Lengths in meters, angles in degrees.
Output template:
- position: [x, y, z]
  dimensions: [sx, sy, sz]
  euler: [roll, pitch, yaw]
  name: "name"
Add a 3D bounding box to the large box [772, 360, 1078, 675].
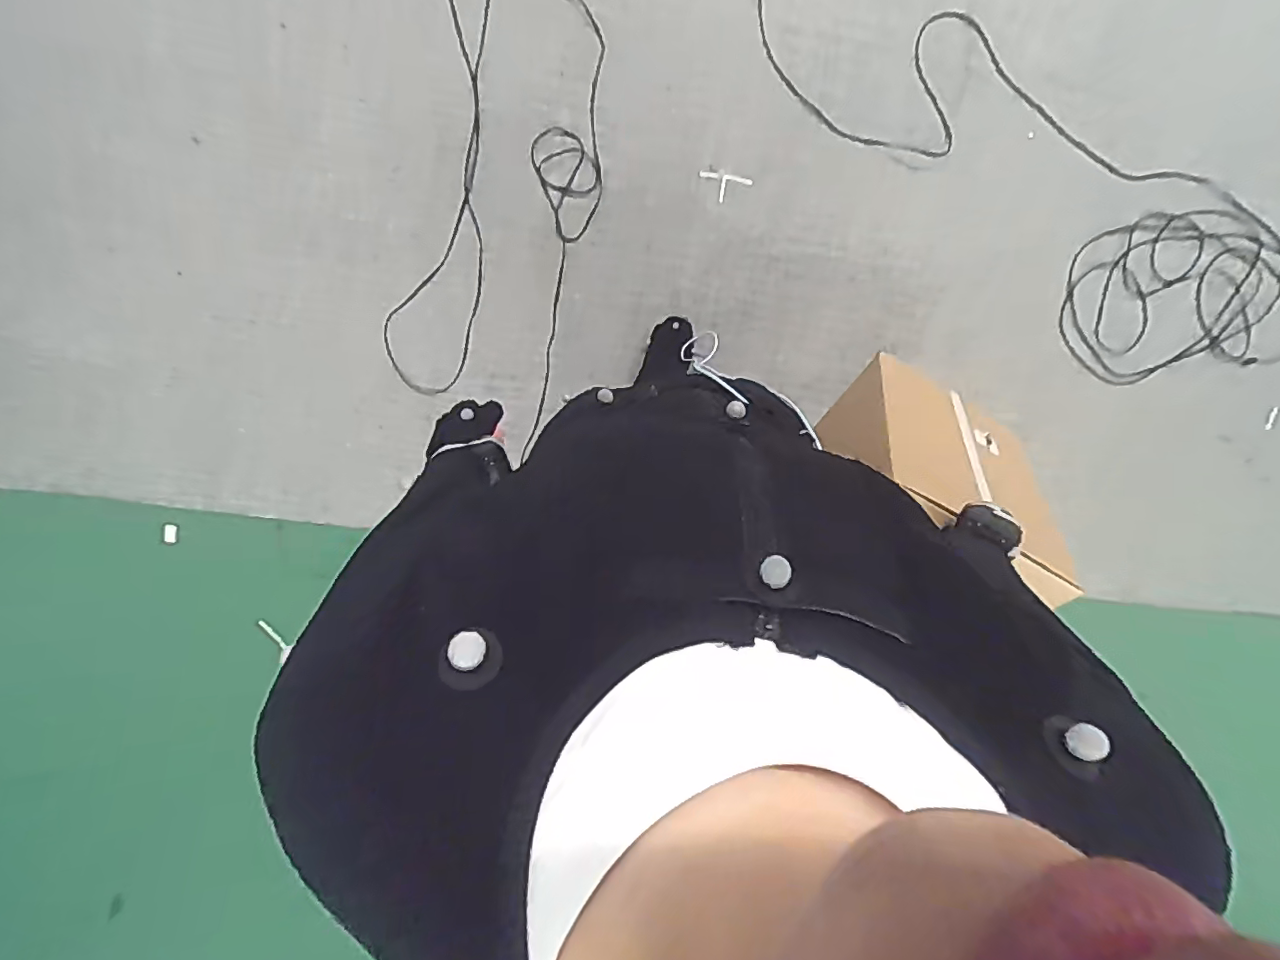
- position: [0.462, 0.059, 0.975]
  dimensions: [0.320, 0.408, 0.320]
  euler: [30, 131, -4]
  name: "large box"
